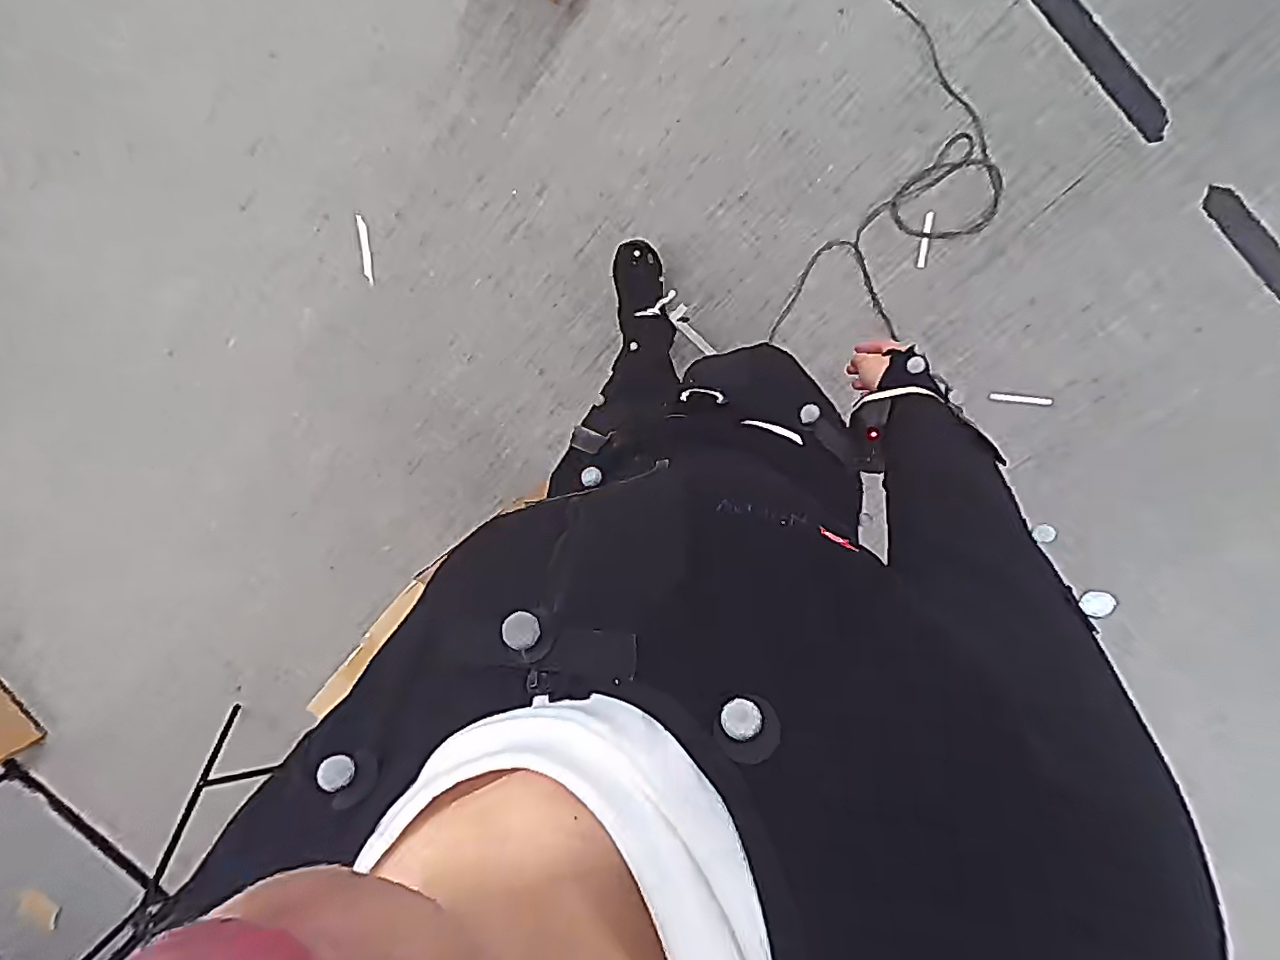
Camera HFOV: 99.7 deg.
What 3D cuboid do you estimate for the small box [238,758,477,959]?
[{"bbox_3d":[-0.343,0.501,0.687,0.179,0.176,0.168,-40,96,20],"label":"small box"}]
